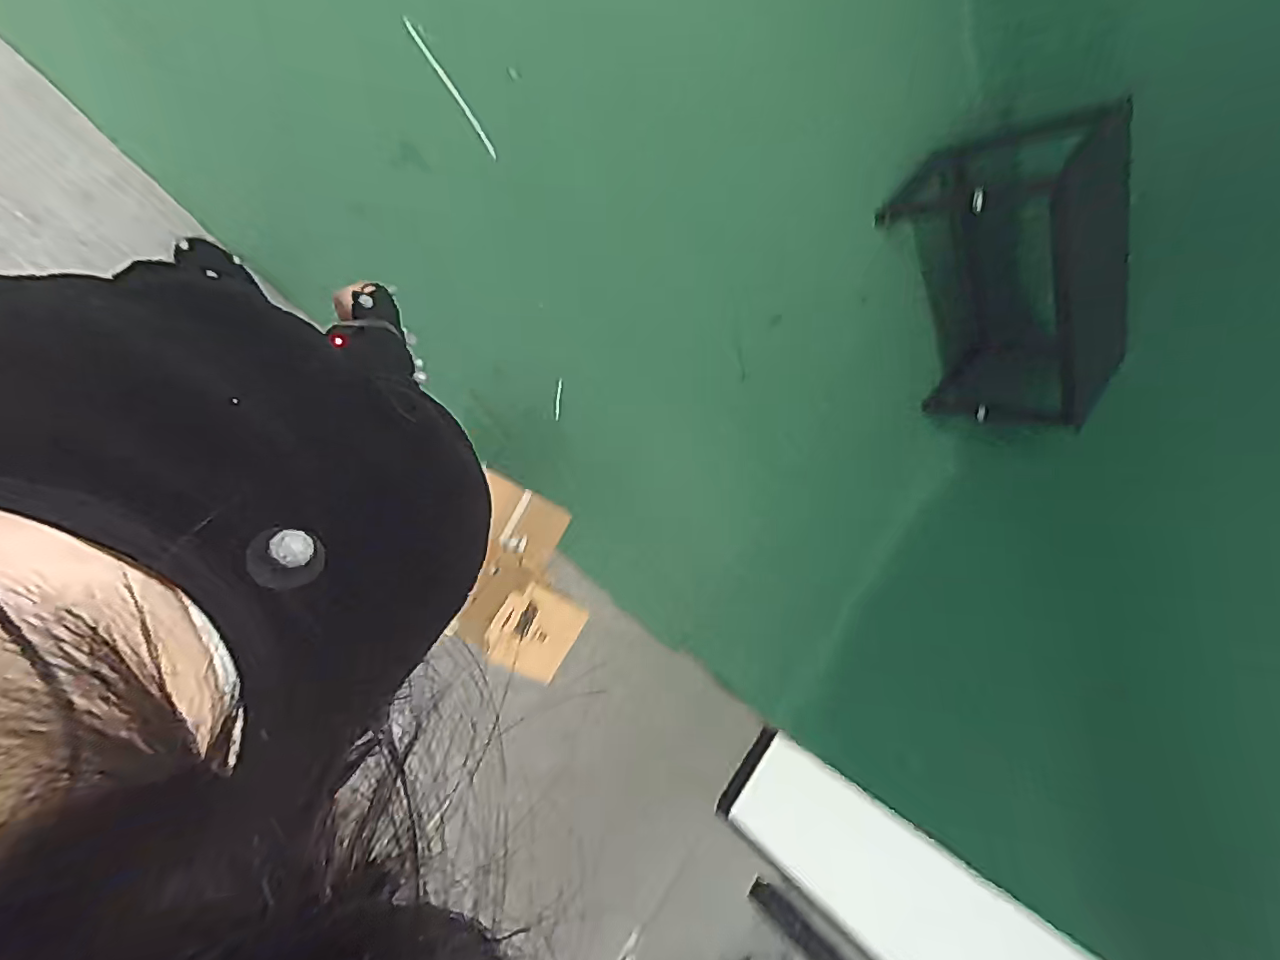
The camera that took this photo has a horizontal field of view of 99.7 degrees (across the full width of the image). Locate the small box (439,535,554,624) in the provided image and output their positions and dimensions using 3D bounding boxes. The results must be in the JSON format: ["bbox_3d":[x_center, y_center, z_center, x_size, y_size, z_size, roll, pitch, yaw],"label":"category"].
[{"bbox_3d":[-0.342,0.252,1.266,0.168,0.176,0.179,38,79,-36],"label":"small box"}]

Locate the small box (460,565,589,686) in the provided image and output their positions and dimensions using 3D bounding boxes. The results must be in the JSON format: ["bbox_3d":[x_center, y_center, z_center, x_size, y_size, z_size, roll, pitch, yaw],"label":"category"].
[{"bbox_3d":[-0.248,0.297,1.139,0.179,0.176,0.168,41,77,-36],"label":"small box"}]

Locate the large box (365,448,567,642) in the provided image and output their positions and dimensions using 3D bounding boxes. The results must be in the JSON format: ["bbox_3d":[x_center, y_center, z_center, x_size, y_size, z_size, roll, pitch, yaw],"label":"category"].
[{"bbox_3d":[-0.473,0.176,1.460,0.320,0.320,0.408,35,80,-39],"label":"large box"}]
